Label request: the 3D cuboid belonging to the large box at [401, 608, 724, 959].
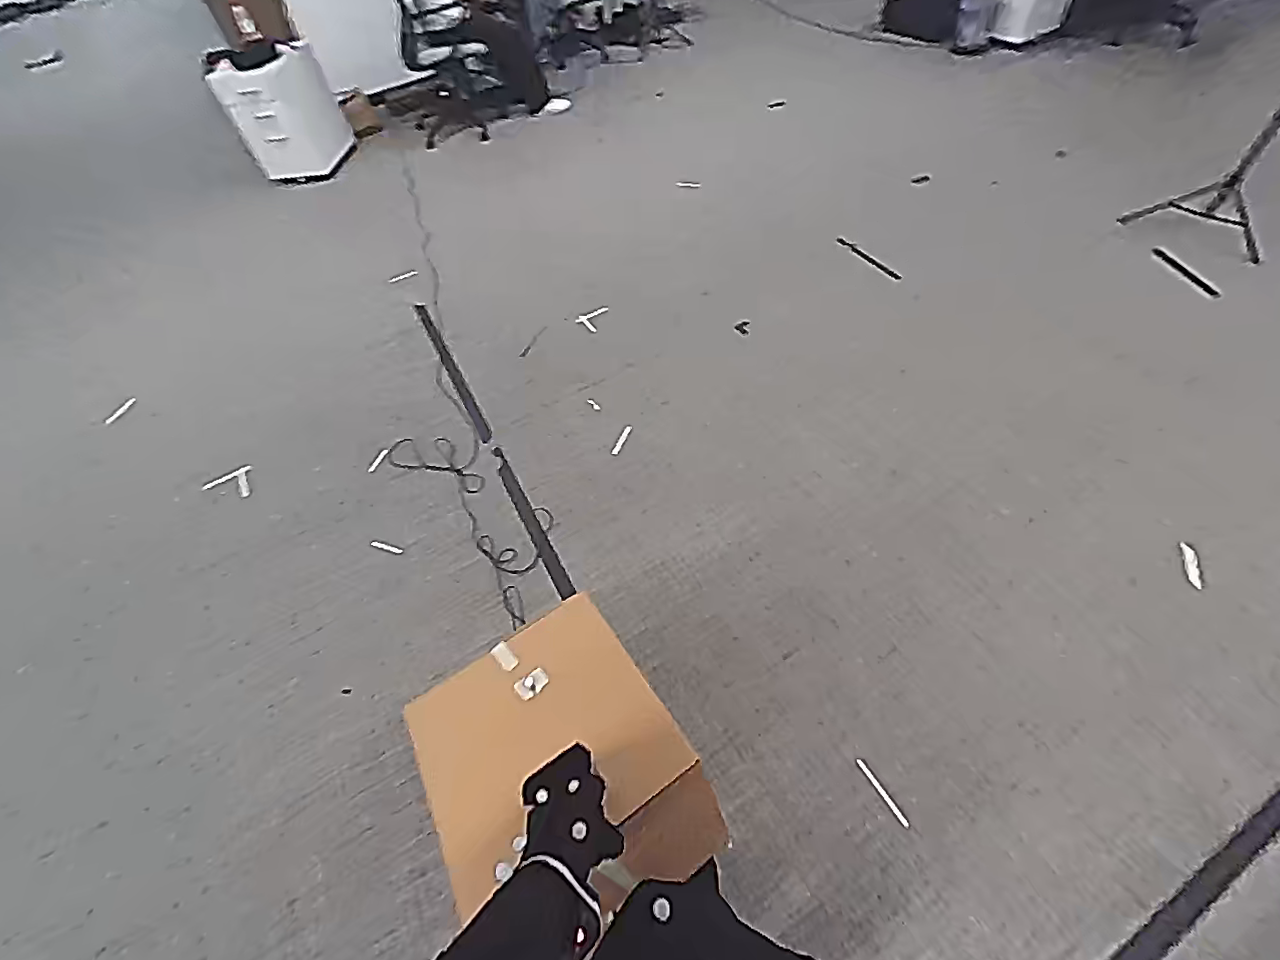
[{"bbox_3d":[-0.104,0.482,0.860,0.320,0.408,0.320,-33,46,-14],"label":"large box"}]
